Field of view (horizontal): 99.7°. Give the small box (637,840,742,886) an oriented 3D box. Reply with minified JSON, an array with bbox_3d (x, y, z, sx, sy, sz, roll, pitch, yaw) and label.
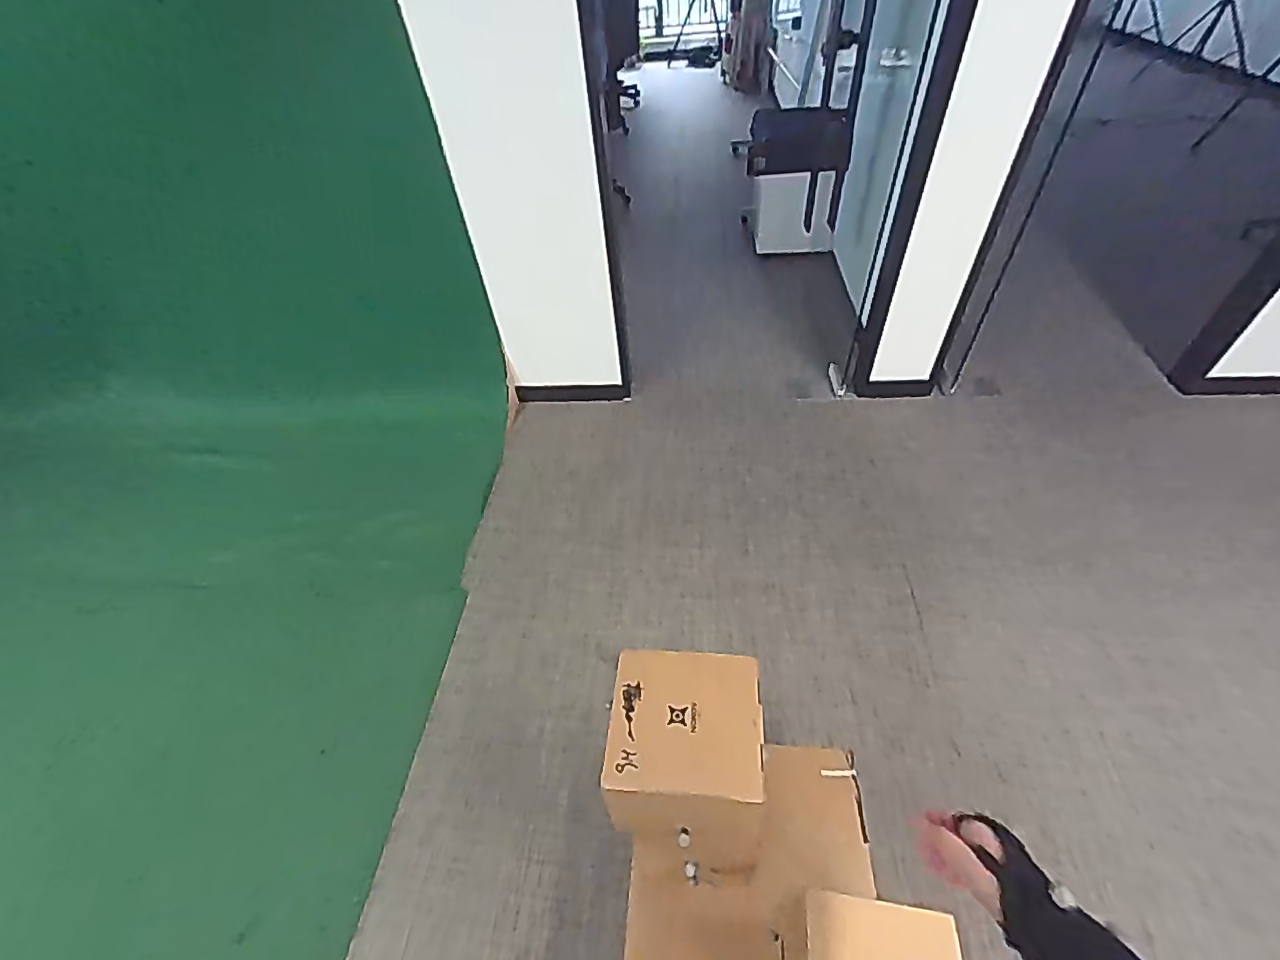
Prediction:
[{"bbox_3d":[0.089,0.559,0.918,0.168,0.176,0.179,0,43,7],"label":"small box"}]

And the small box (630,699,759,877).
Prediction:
[{"bbox_3d":[0.083,0.450,0.794,0.168,0.176,0.179,2,44,8],"label":"small box"}]

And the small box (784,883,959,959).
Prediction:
[{"bbox_3d":[0.263,0.601,0.626,0.168,0.176,0.179,4,46,8],"label":"small box"}]
